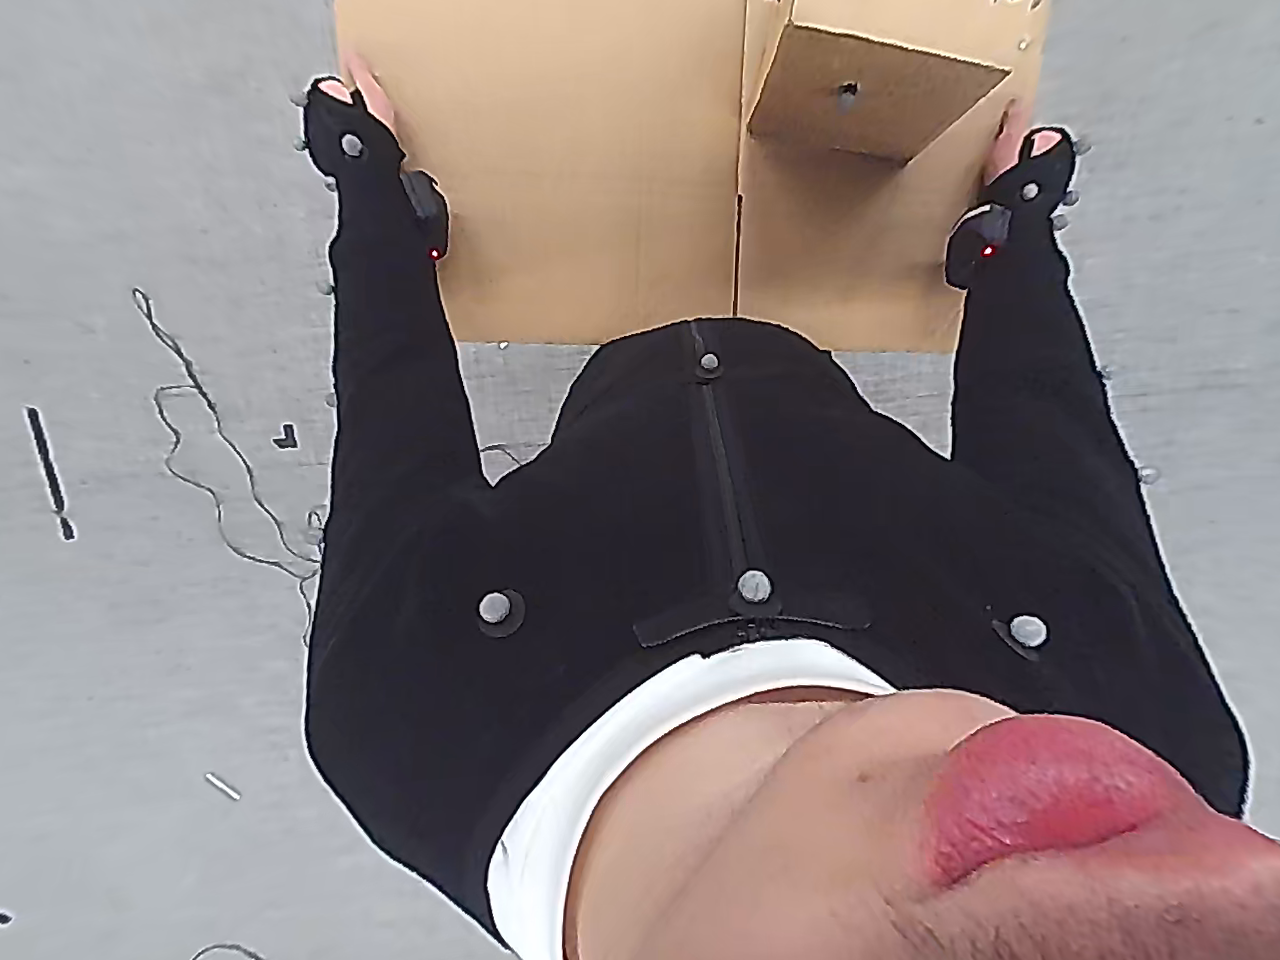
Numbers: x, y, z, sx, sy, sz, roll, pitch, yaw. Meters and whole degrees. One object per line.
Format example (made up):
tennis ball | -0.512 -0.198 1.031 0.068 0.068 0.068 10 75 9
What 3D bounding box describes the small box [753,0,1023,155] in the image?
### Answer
small box | 0.209 -0.417 0.476 0.179 0.176 0.168 11 100 0
